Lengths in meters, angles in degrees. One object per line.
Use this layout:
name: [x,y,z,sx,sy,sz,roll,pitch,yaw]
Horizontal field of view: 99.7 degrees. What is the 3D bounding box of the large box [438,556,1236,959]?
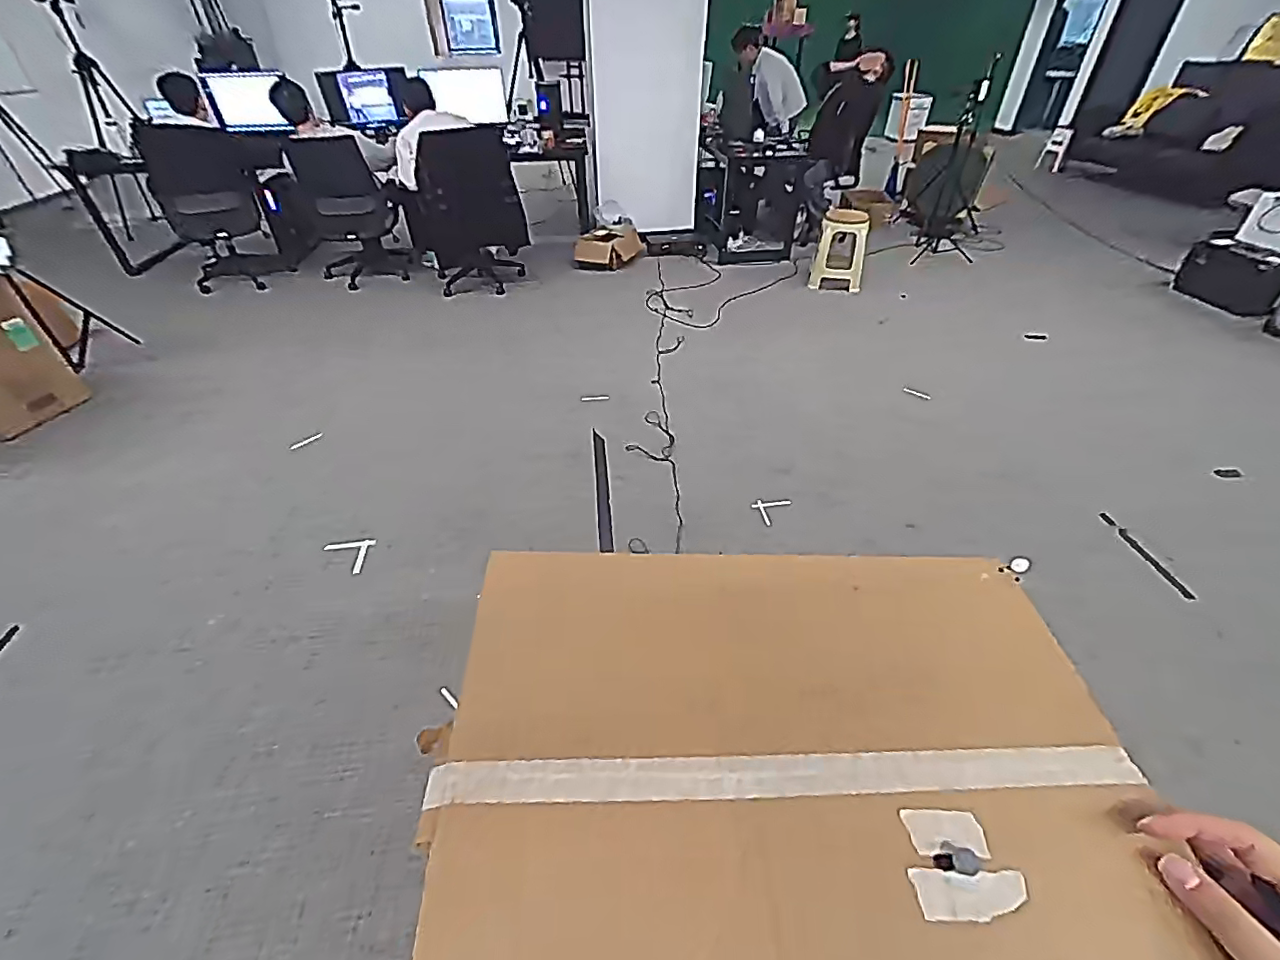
large box: [0.084,0.276,0.425,0.408,0.320,0.320,2,46,-6]
